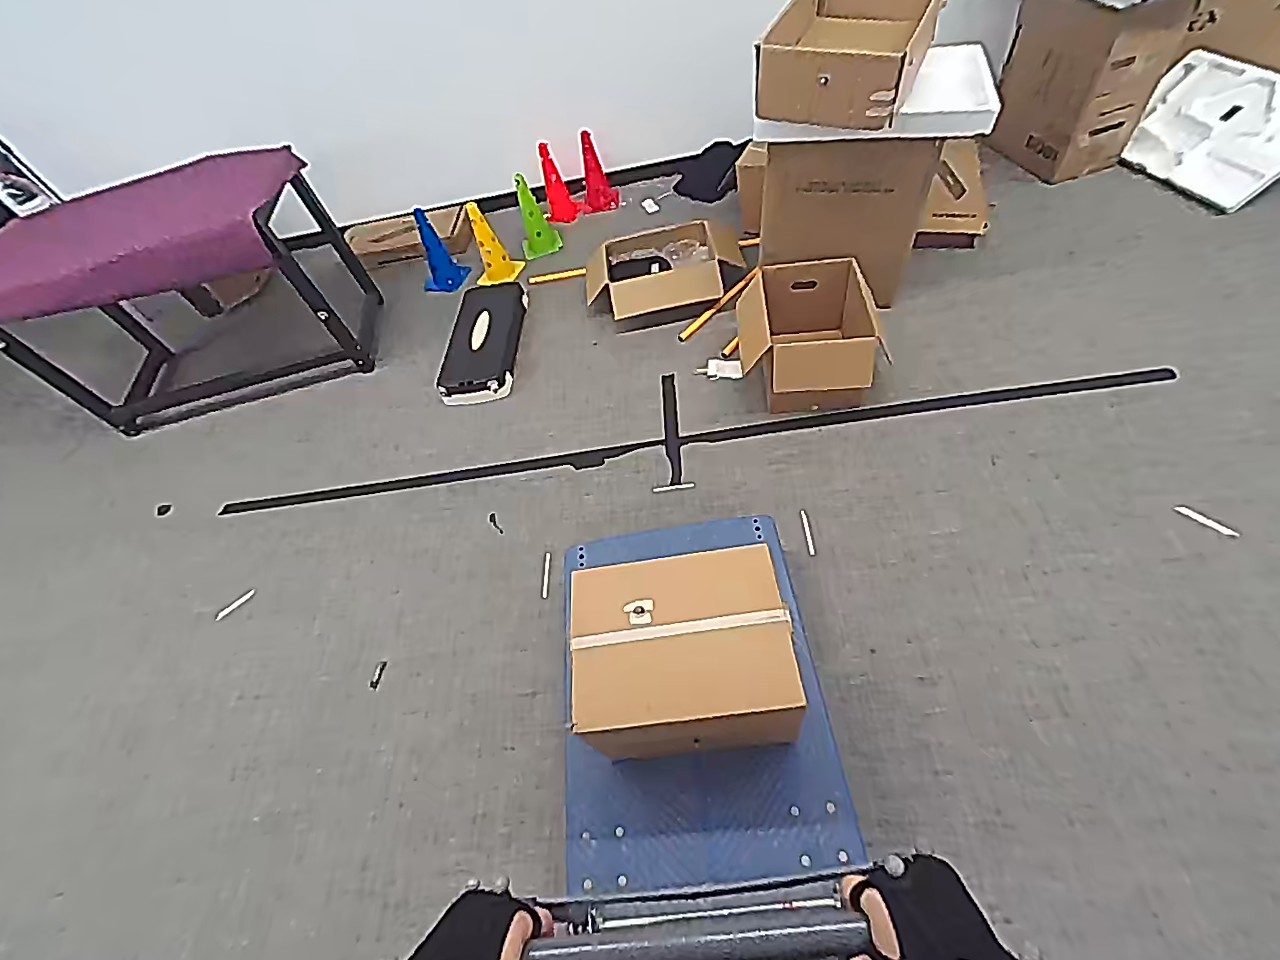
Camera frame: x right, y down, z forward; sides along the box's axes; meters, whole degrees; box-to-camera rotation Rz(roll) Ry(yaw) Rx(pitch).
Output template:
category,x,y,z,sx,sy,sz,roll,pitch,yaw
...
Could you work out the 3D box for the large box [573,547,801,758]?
category,x,y,z,sx,sy,sz,roll,pitch,yaw
large box,0.096,0.378,1.147,0.408,0.320,0.320,-10,52,6
